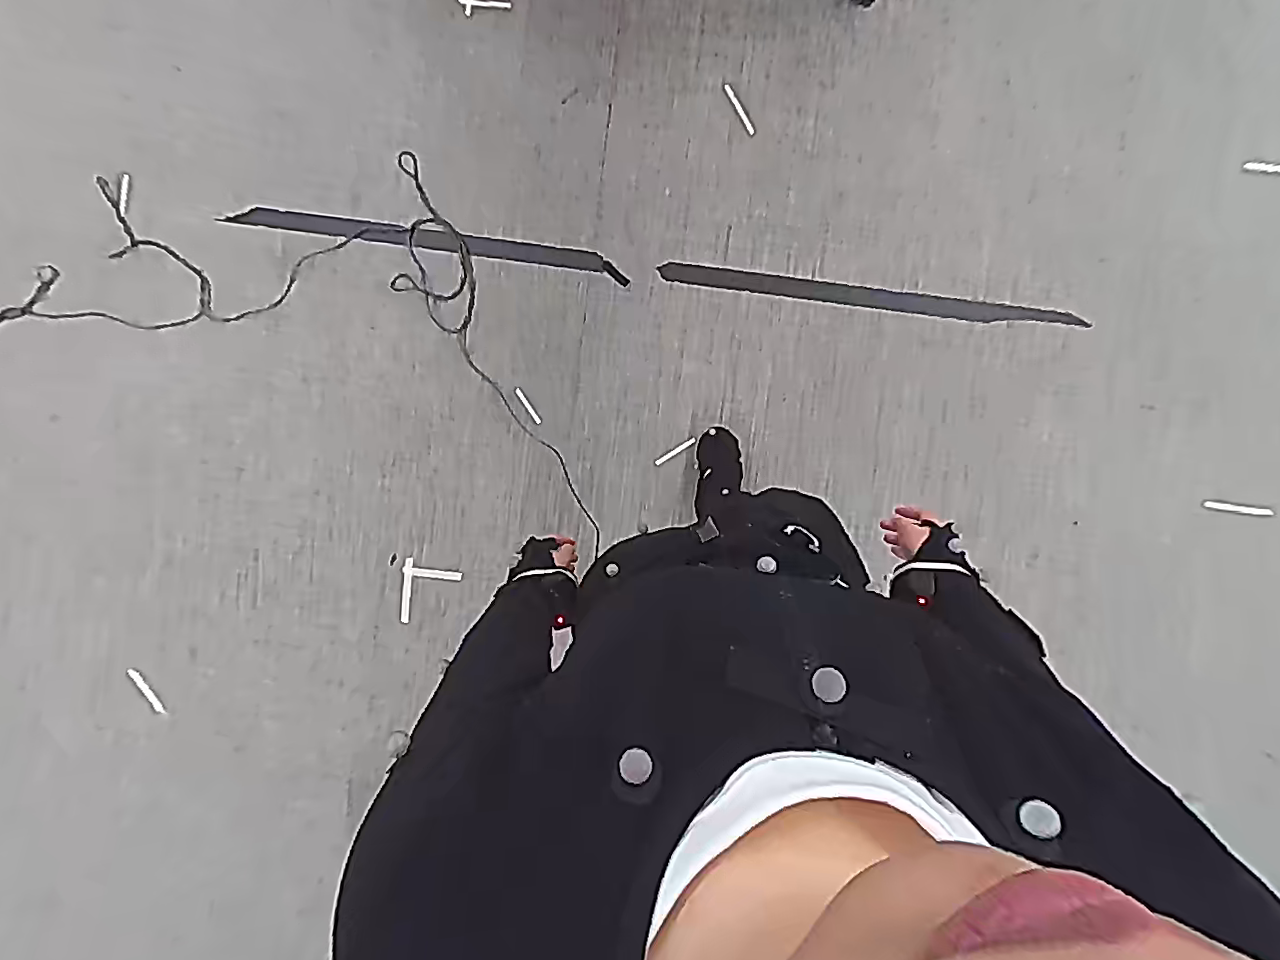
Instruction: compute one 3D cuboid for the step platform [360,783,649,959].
[{"bbox_3d":[-0.321,0.984,1.333,0.684,0.204,0.286,7,92,2],"label":"step platform"}]
